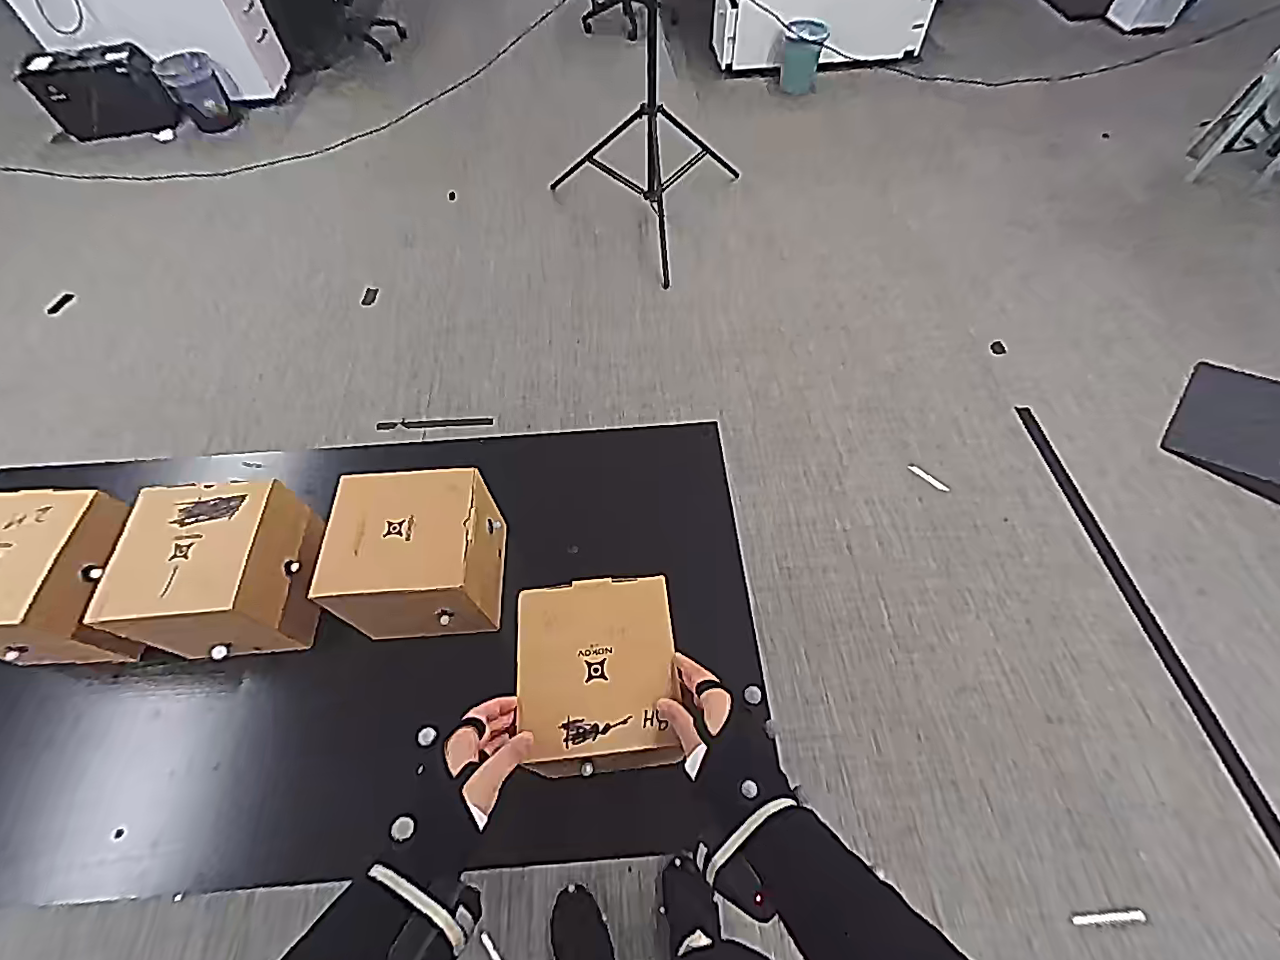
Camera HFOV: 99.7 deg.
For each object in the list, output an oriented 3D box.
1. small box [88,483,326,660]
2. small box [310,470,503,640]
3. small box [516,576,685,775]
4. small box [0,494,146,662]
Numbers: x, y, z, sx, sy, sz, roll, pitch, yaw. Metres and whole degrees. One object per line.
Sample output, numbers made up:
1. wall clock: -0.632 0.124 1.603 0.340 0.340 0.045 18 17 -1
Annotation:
1. small box: -0.536 0.124 0.710 0.168 0.176 0.179 -5 59 -2
2. small box: -0.289 0.105 0.718 0.179 0.176 0.168 -5 56 0
3. small box: -0.043 0.231 0.629 0.168 0.176 0.179 -6 58 -1
4. small box: -0.760 0.135 0.709 0.168 0.176 0.179 -1 57 0
